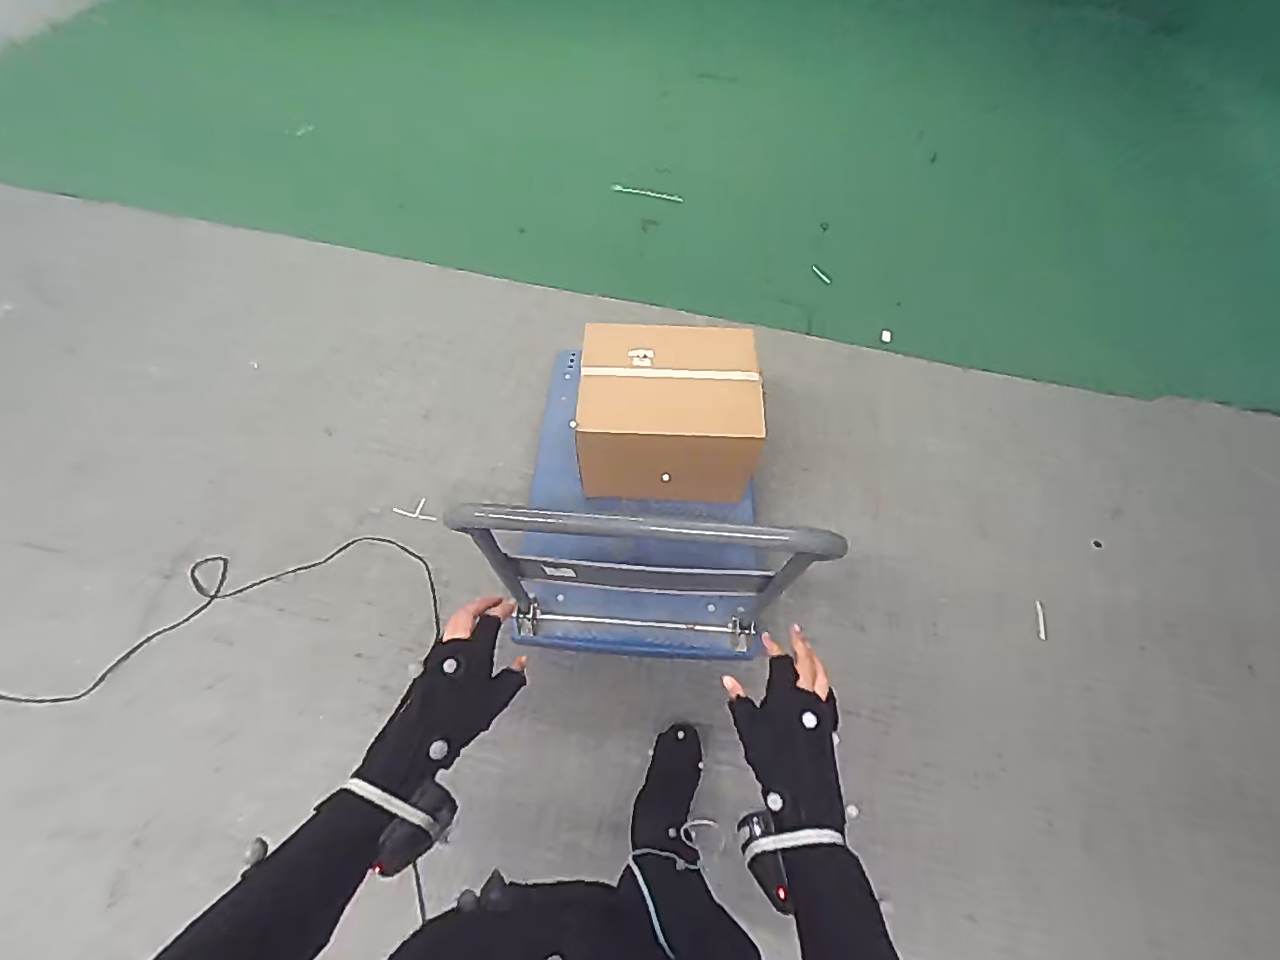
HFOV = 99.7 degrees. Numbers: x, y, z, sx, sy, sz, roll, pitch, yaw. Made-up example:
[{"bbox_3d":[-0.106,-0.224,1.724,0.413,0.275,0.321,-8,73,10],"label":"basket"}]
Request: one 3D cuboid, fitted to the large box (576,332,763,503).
[{"bbox_3d":[0.066,-0.146,1.344,0.408,0.320,0.320,1,60,1],"label":"large box"}]
